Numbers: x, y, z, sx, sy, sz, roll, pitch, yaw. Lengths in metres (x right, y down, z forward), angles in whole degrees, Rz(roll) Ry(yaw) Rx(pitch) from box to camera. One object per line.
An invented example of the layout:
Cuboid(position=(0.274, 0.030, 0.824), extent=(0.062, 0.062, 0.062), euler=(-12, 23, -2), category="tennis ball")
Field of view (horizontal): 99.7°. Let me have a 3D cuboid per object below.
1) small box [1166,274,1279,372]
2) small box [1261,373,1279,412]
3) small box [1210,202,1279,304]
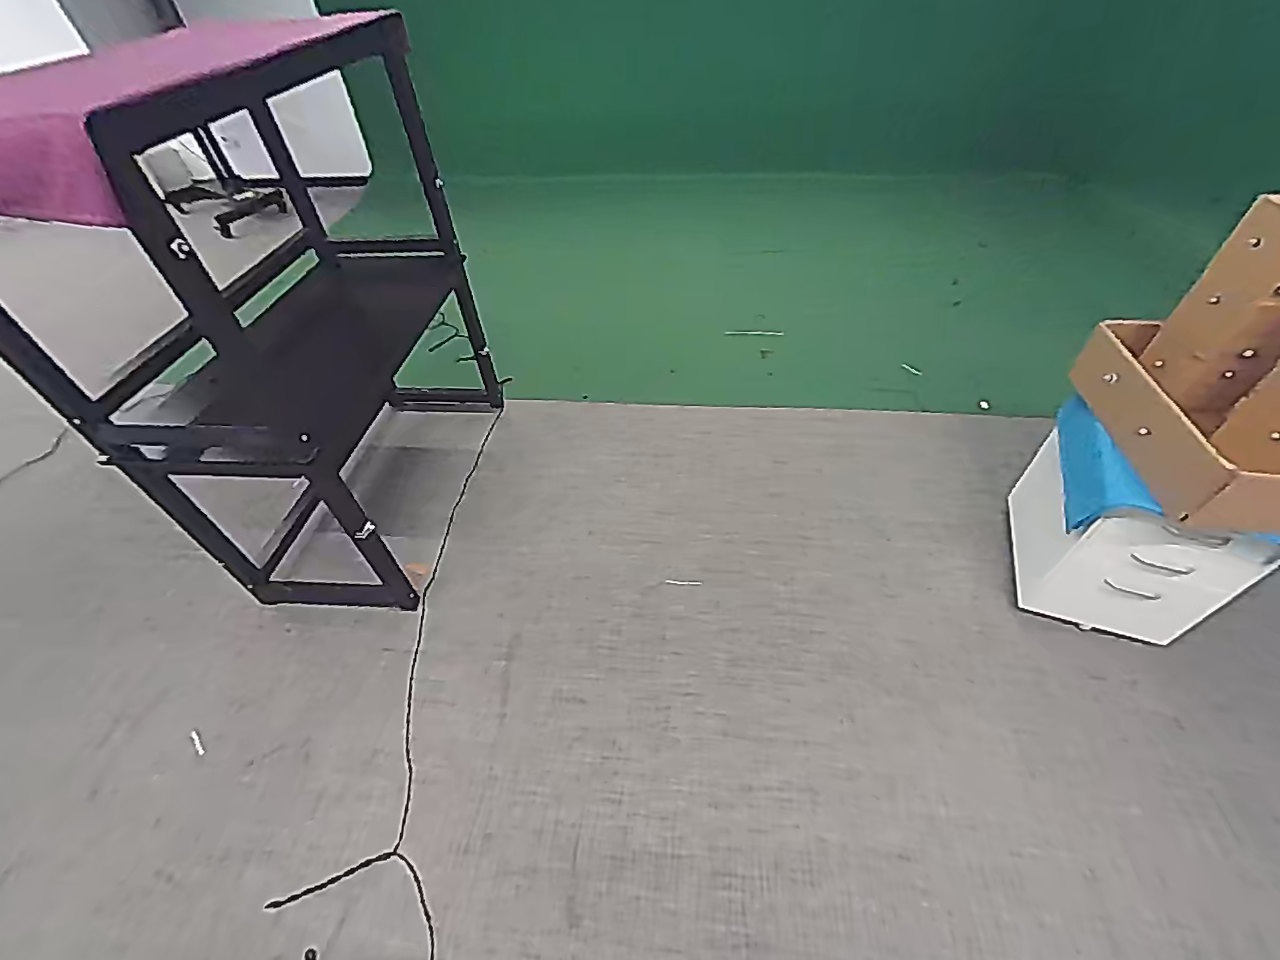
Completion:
Cuboid(position=(1.464, -0.385, 1.320), extent=(0.168, 0.176, 0.179), euler=(0, 47, 3), category="small box")
Cuboid(position=(1.493, -0.190, 1.130), extent=(0.168, 0.176, 0.179), euler=(6, 46, 9), category="small box")
Cuboid(position=(1.462, -0.503, 1.206), extent=(0.168, 0.176, 0.179), euler=(3, 46, 5), category="small box")
